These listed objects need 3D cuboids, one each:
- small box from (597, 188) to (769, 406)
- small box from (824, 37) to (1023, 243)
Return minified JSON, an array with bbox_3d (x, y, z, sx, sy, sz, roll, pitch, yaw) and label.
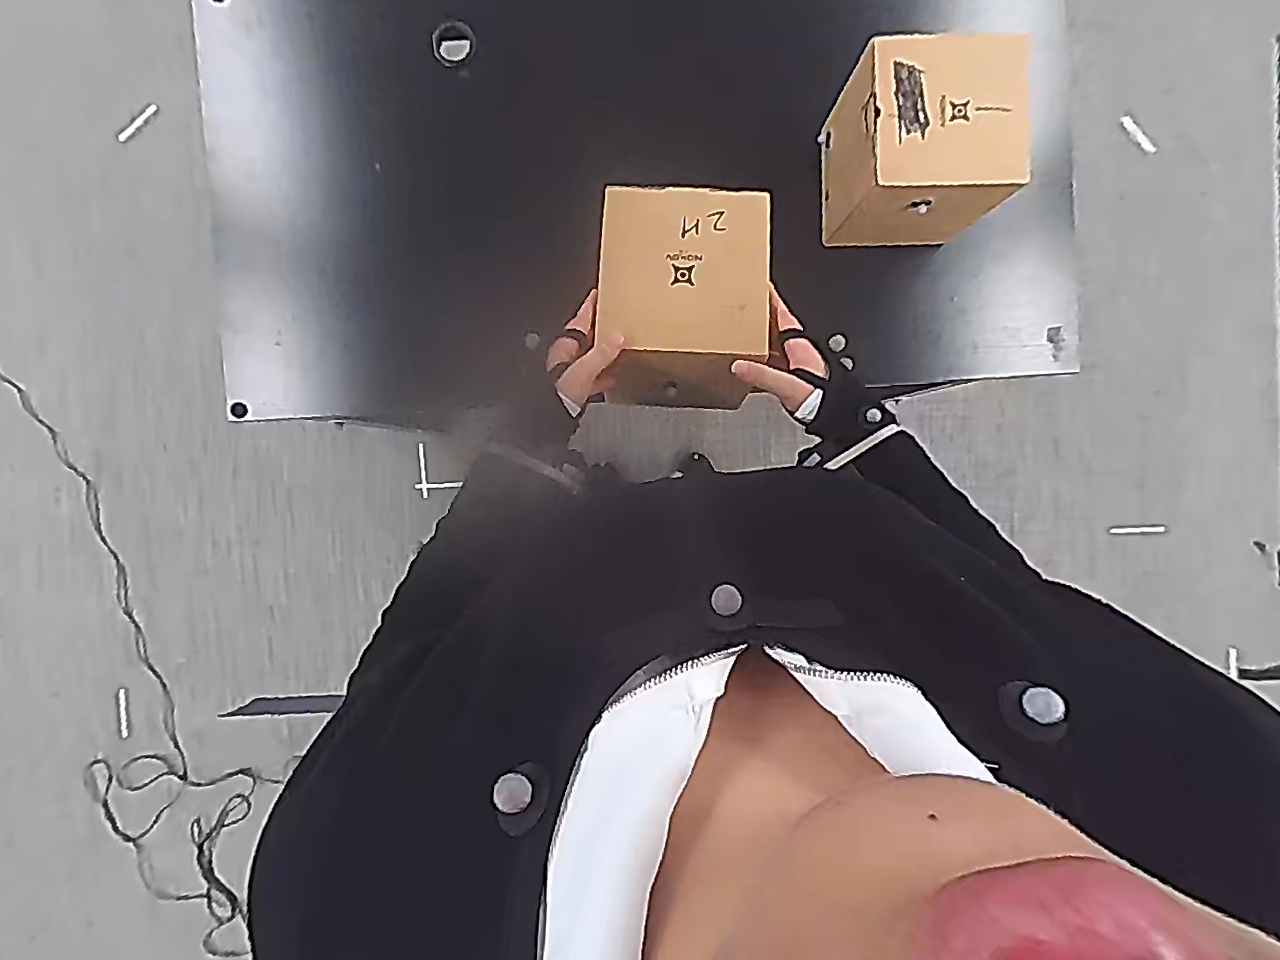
[{"bbox_3d":[0.046,-0.193,0.611,0.168,0.176,0.179,3,77,1],"label":"small box"},{"bbox_3d":[0.344,-0.416,0.688,0.179,0.176,0.168,-1,92,-1],"label":"small box"}]
